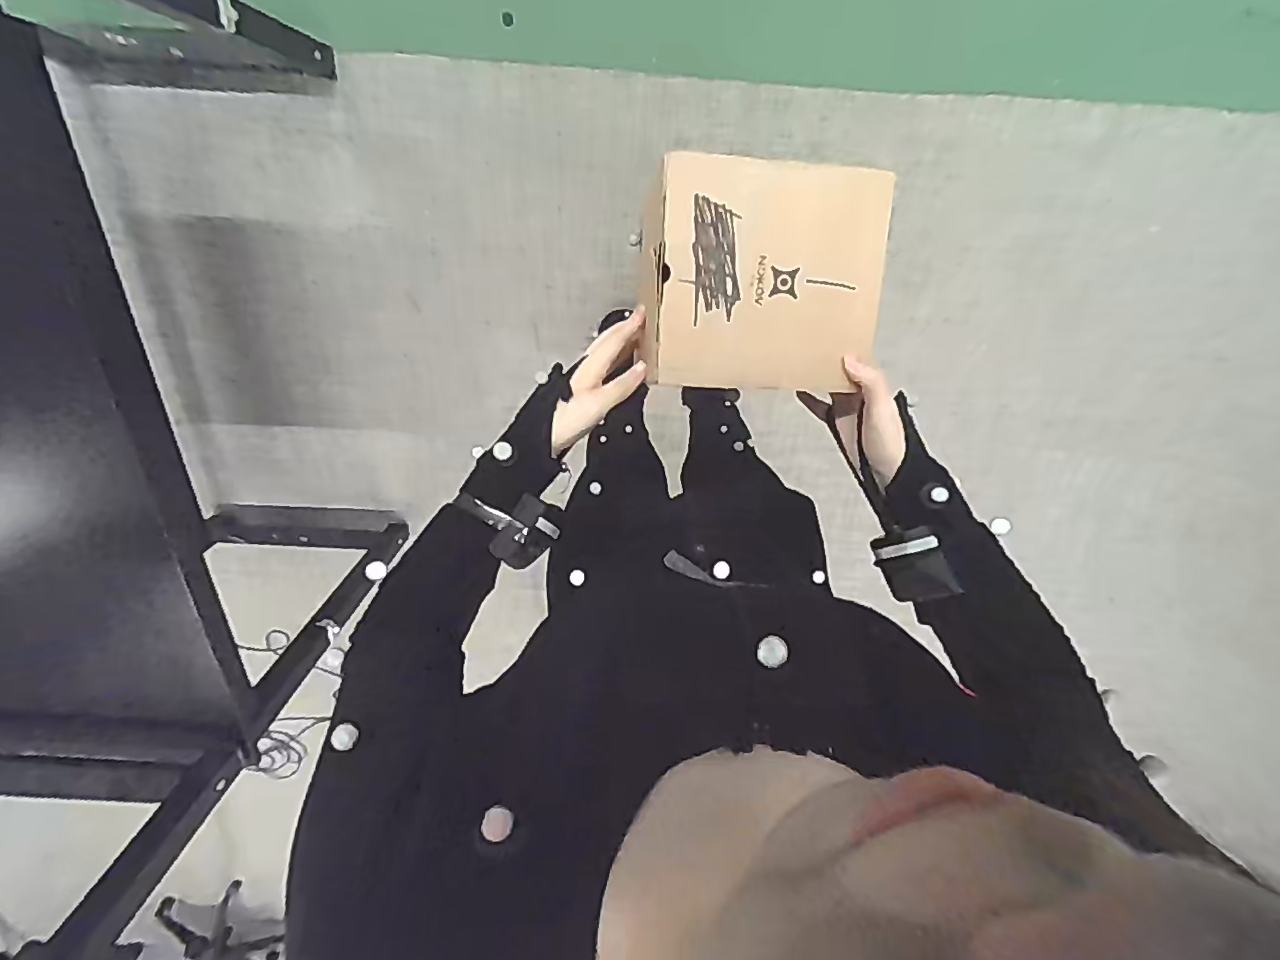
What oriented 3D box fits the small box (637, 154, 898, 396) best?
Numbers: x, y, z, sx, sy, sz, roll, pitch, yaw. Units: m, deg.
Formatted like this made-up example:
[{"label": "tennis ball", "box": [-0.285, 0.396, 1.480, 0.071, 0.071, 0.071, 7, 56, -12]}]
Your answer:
[{"label": "small box", "box": [0.092, -0.163, 0.480, 0.179, 0.176, 0.168, 1, 102, -7]}]
